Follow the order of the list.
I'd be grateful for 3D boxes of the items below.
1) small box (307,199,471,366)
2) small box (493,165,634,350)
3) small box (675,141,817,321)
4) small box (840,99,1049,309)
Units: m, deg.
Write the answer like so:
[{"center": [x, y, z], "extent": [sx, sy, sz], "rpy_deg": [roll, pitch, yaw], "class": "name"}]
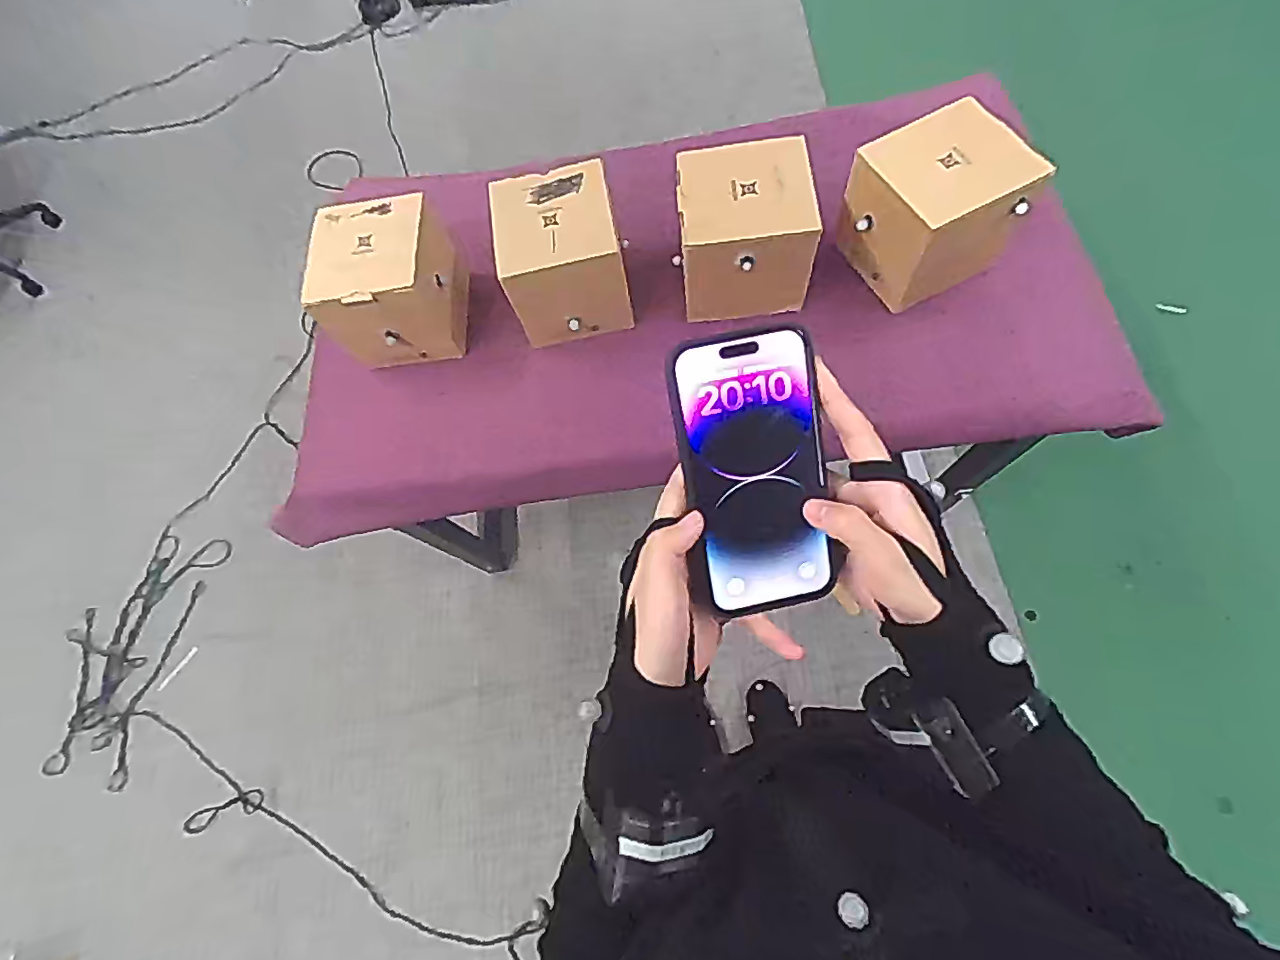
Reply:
[{"center": [-0.375, -0.292, 0.840], "extent": [0.168, 0.176, 0.179], "rpy_deg": [-6, 69, 6], "class": "small box"}, {"center": [-0.110, -0.327, 0.815], "extent": [0.168, 0.176, 0.179], "rpy_deg": [-11, 69, 4], "class": "small box"}, {"center": [0.148, -0.350, 0.789], "extent": [0.179, 0.176, 0.168], "rpy_deg": [-4, 70, 6], "class": "small box"}, {"center": [0.403, -0.375, 0.761], "extent": [0.179, 0.176, 0.168], "rpy_deg": [-27, 67, -3], "class": "small box"}]
